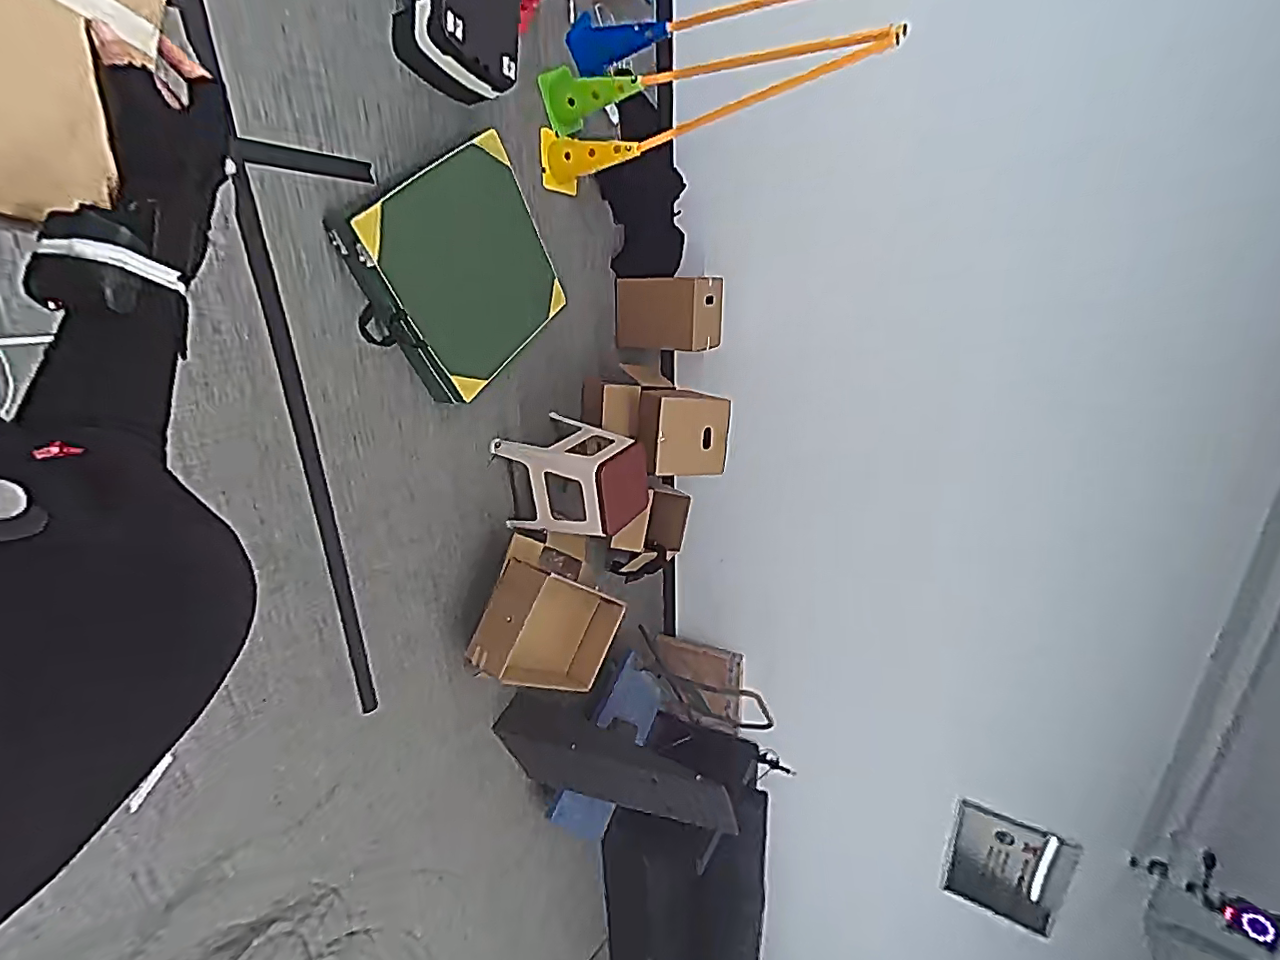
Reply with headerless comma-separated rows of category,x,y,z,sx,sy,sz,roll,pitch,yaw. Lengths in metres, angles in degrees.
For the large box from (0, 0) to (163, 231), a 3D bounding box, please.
large box,-0.597,-0.392,0.315,0.408,0.320,0.320,7,101,-62
